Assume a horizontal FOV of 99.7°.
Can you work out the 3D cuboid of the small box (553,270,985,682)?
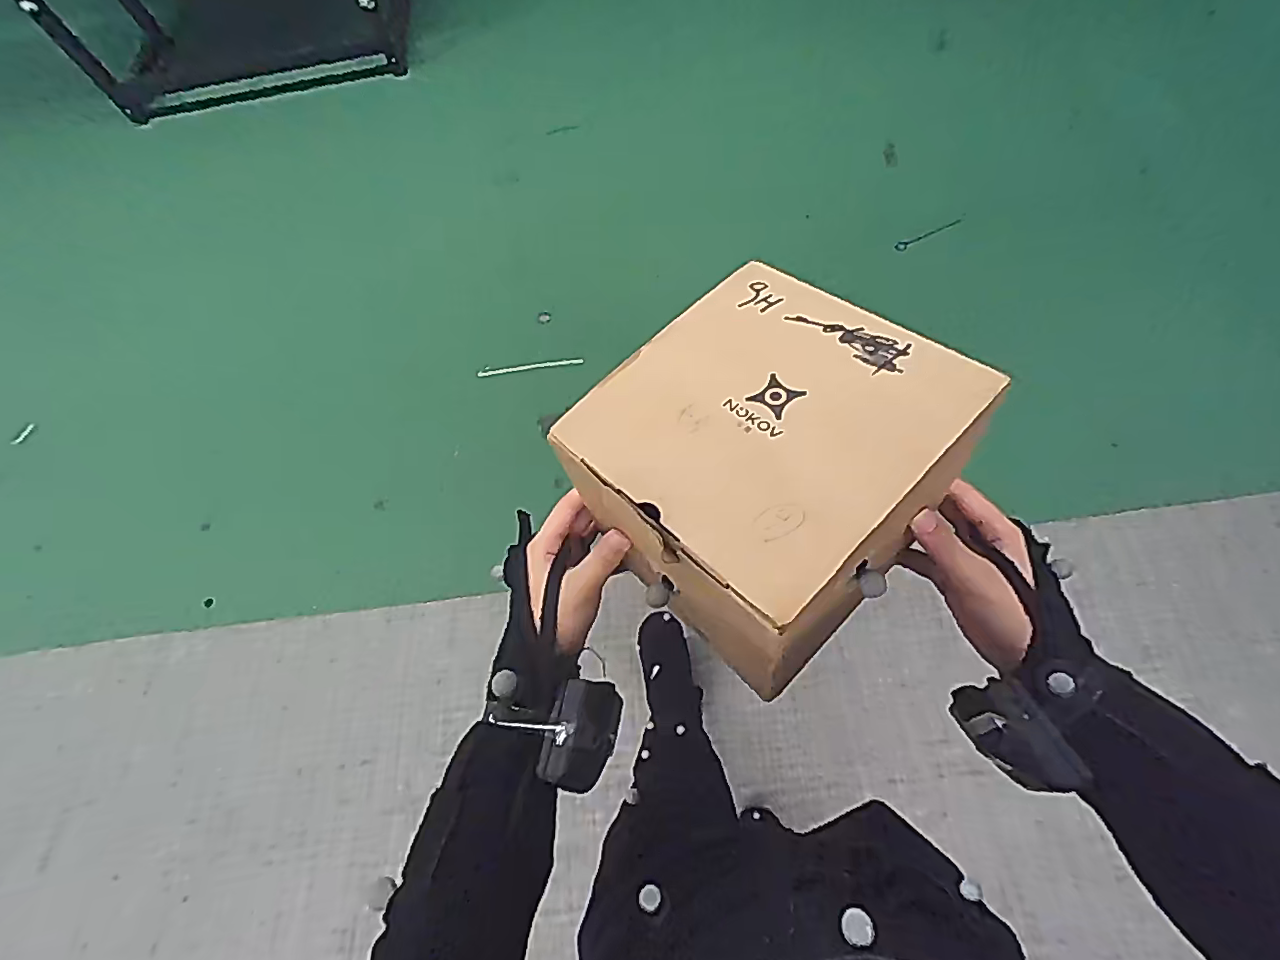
[{"bbox_3d":[0.078,0.005,0.360,0.179,0.176,0.168,-42,60,-14],"label":"small box"}]
